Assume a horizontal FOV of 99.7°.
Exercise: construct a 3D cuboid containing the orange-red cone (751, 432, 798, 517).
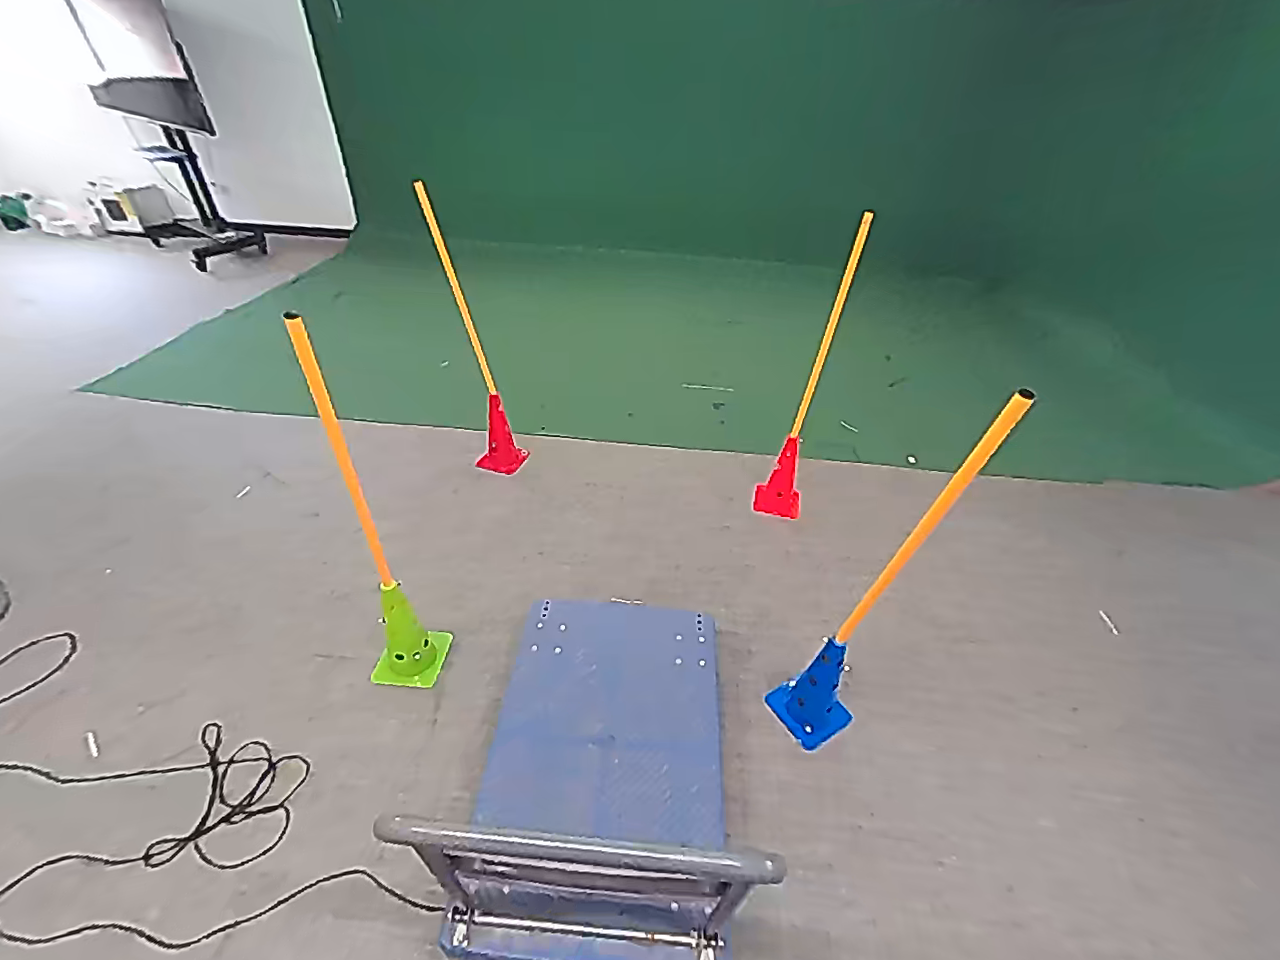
[{"bbox_3d":[0.612,-0.045,2.315,0.198,0.360,0.199,12,40,11],"label":"orange-red cone"}]
